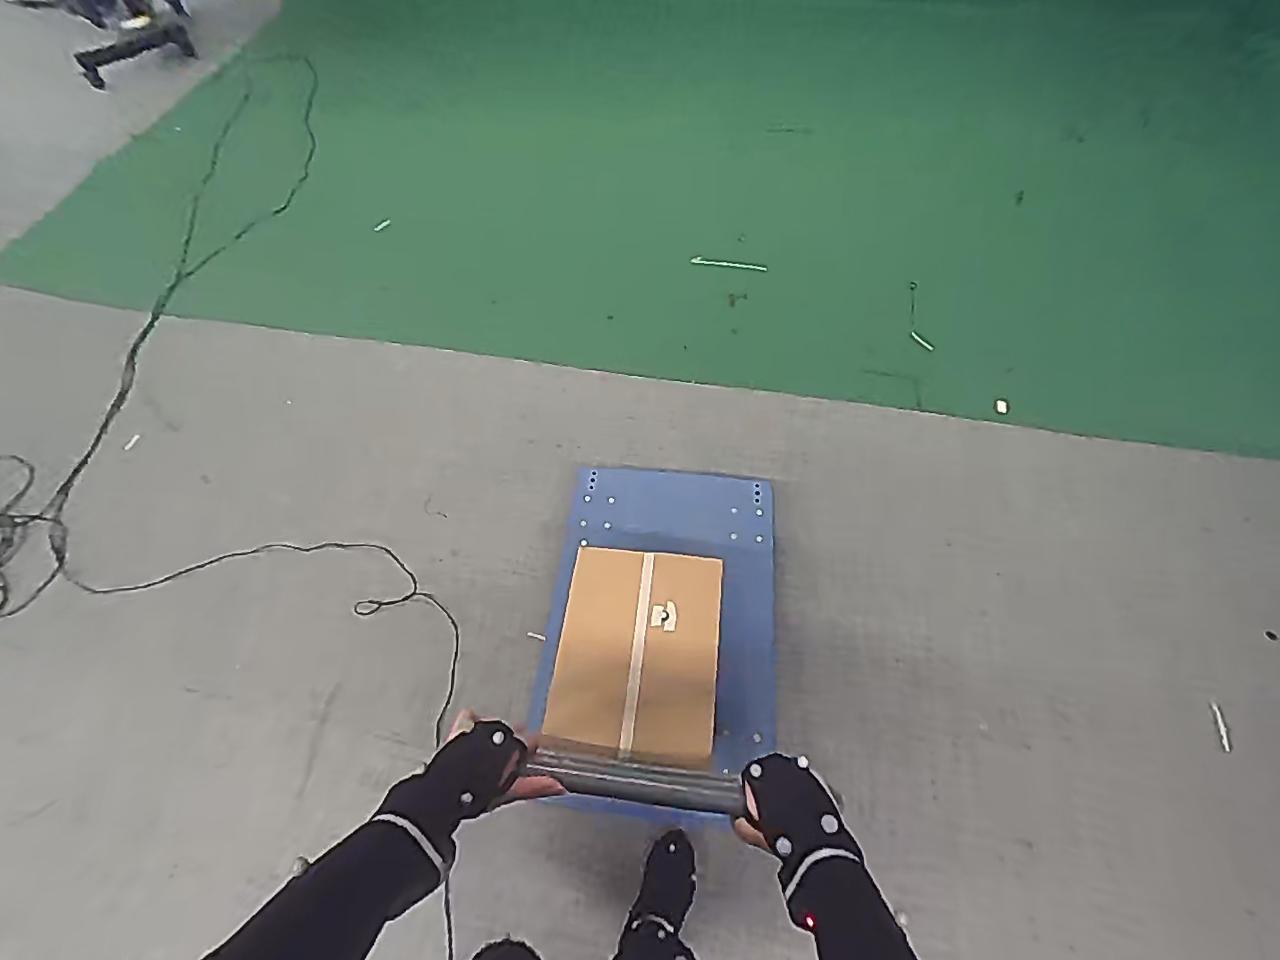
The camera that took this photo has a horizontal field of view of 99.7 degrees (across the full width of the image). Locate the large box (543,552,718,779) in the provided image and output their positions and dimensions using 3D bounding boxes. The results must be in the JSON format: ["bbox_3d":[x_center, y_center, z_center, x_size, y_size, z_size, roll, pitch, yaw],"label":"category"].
[{"bbox_3d":[0.001,0.415,1.195,0.320,0.320,0.408,5,59,5],"label":"large box"}]
